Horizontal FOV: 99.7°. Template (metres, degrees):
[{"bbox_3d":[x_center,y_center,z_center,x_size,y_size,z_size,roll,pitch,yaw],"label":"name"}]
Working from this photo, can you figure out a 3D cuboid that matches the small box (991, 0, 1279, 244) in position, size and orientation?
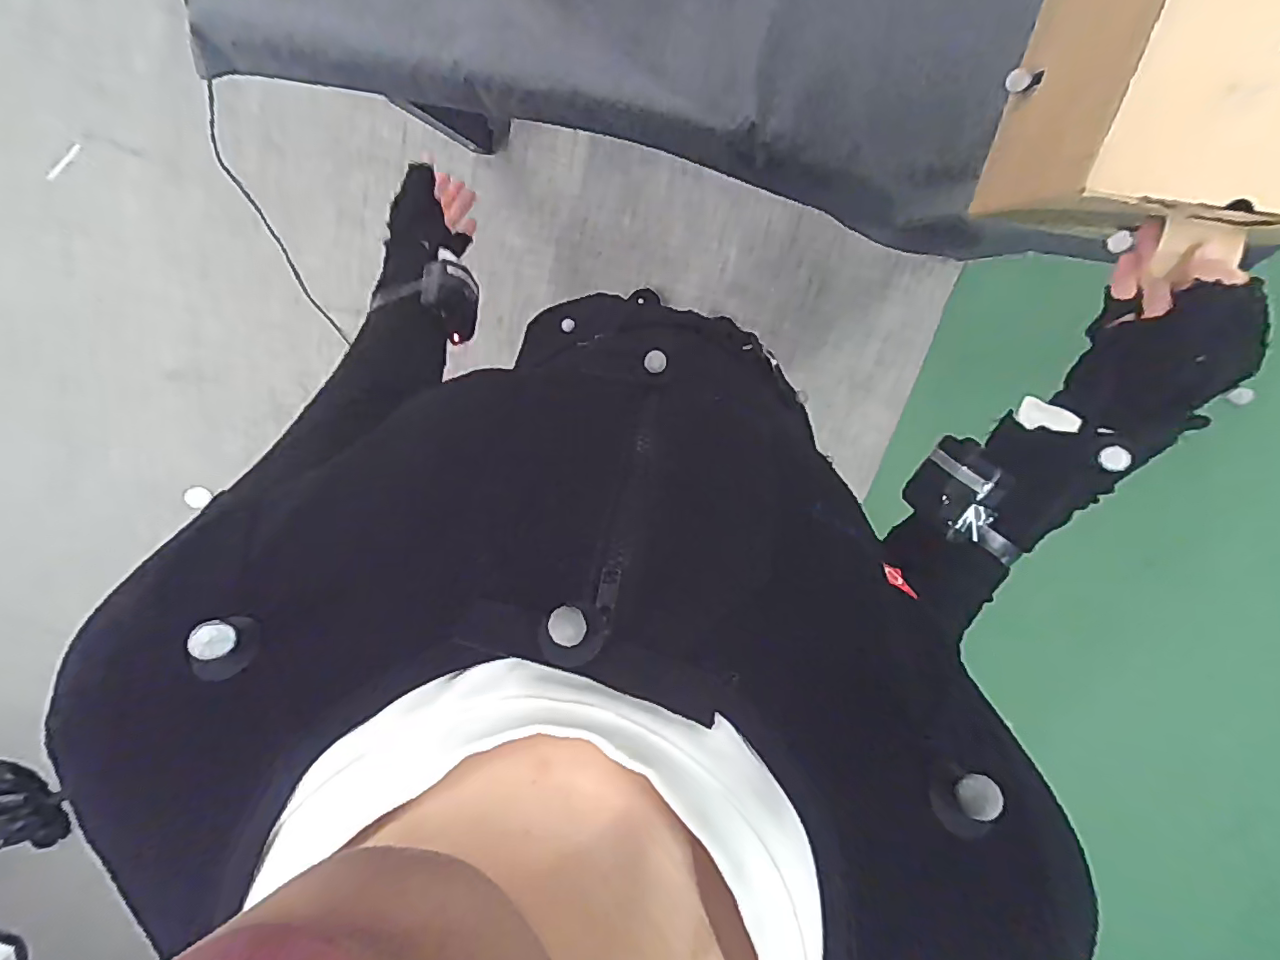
[{"bbox_3d":[0.359,-0.252,0.339,0.168,0.176,0.179,12,114,5],"label":"small box"}]
